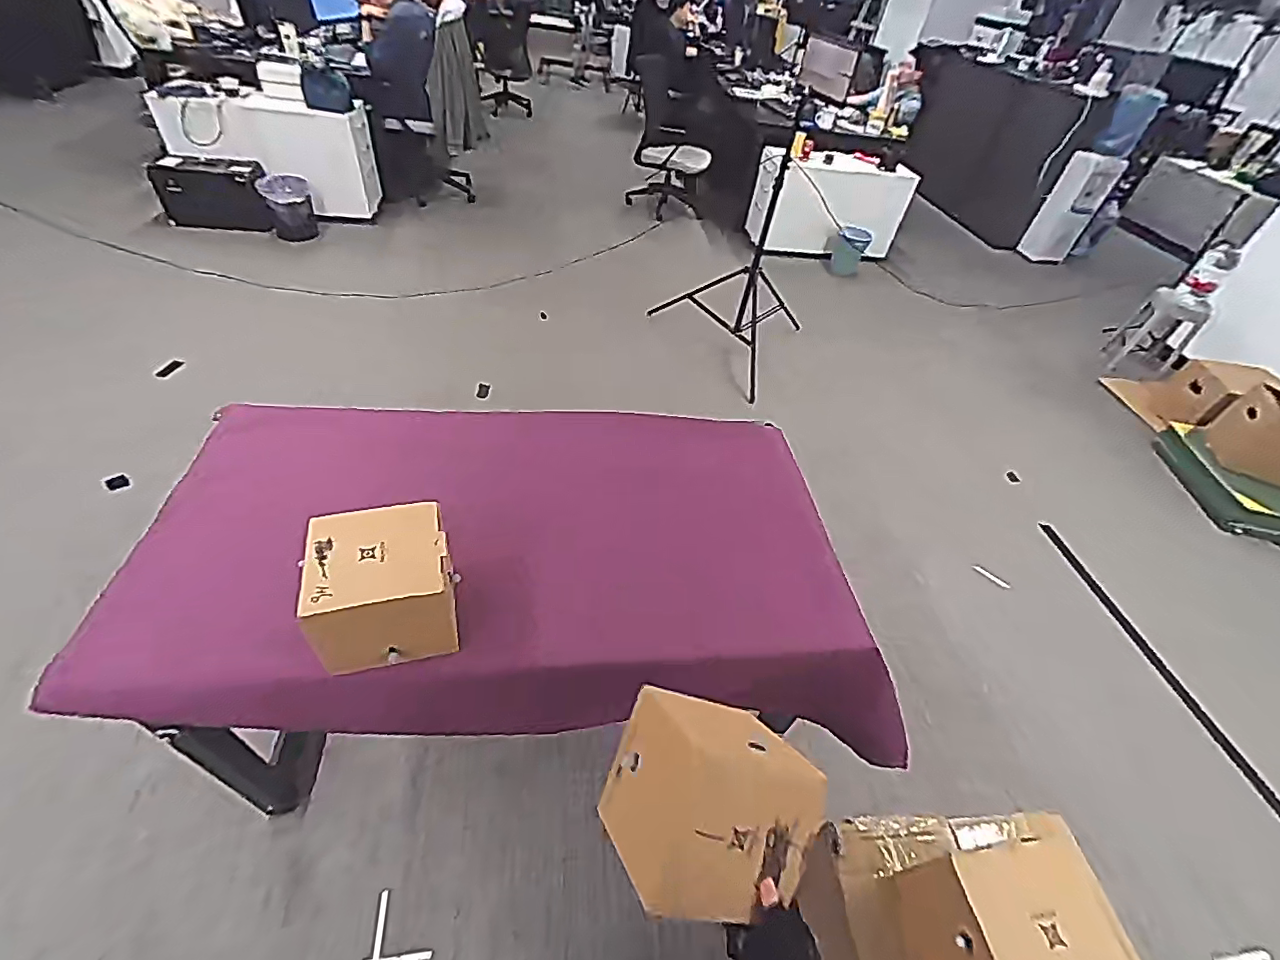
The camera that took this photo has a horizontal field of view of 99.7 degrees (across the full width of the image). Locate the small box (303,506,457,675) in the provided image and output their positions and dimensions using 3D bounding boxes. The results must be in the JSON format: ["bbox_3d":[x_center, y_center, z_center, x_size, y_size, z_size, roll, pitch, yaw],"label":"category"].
[{"bbox_3d":[-0.369,0.162,0.801,0.179,0.176,0.168,-7,46,-17],"label":"small box"}]

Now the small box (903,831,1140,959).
[{"bbox_3d":[0.469,0.571,0.679,0.168,0.176,0.179,-3,47,-9],"label":"small box"}]

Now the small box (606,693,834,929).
[{"bbox_3d":[0.085,0.375,0.636,0.179,0.176,0.168,23,83,-20],"label":"small box"}]
